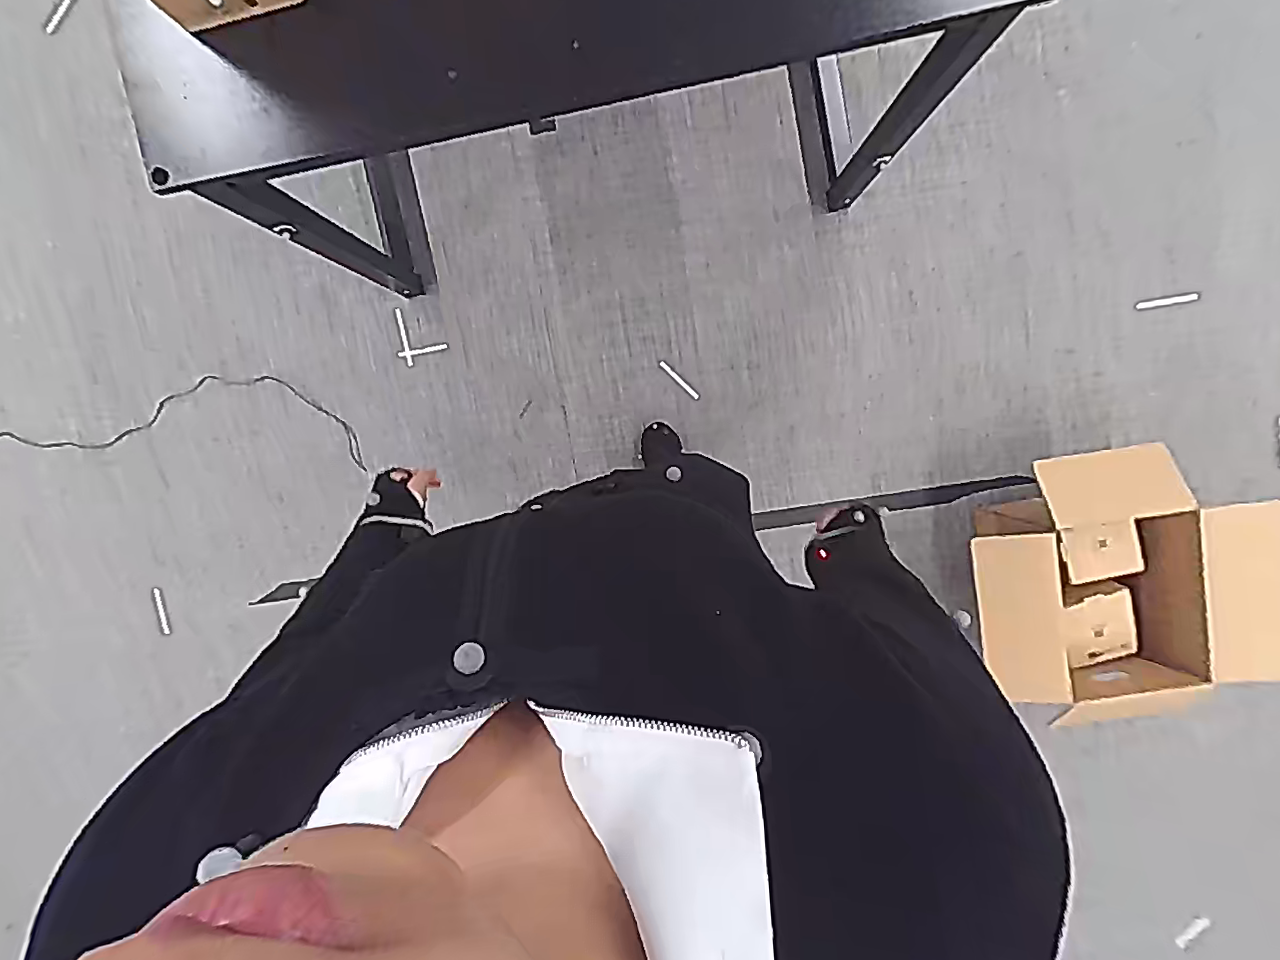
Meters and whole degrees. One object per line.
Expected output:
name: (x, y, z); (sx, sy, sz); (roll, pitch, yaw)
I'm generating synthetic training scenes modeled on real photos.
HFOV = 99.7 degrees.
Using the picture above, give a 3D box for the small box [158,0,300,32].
small box: (-0.534, -0.677, 0.618); (0.168, 0.176, 0.179); (-12, 96, 3)
